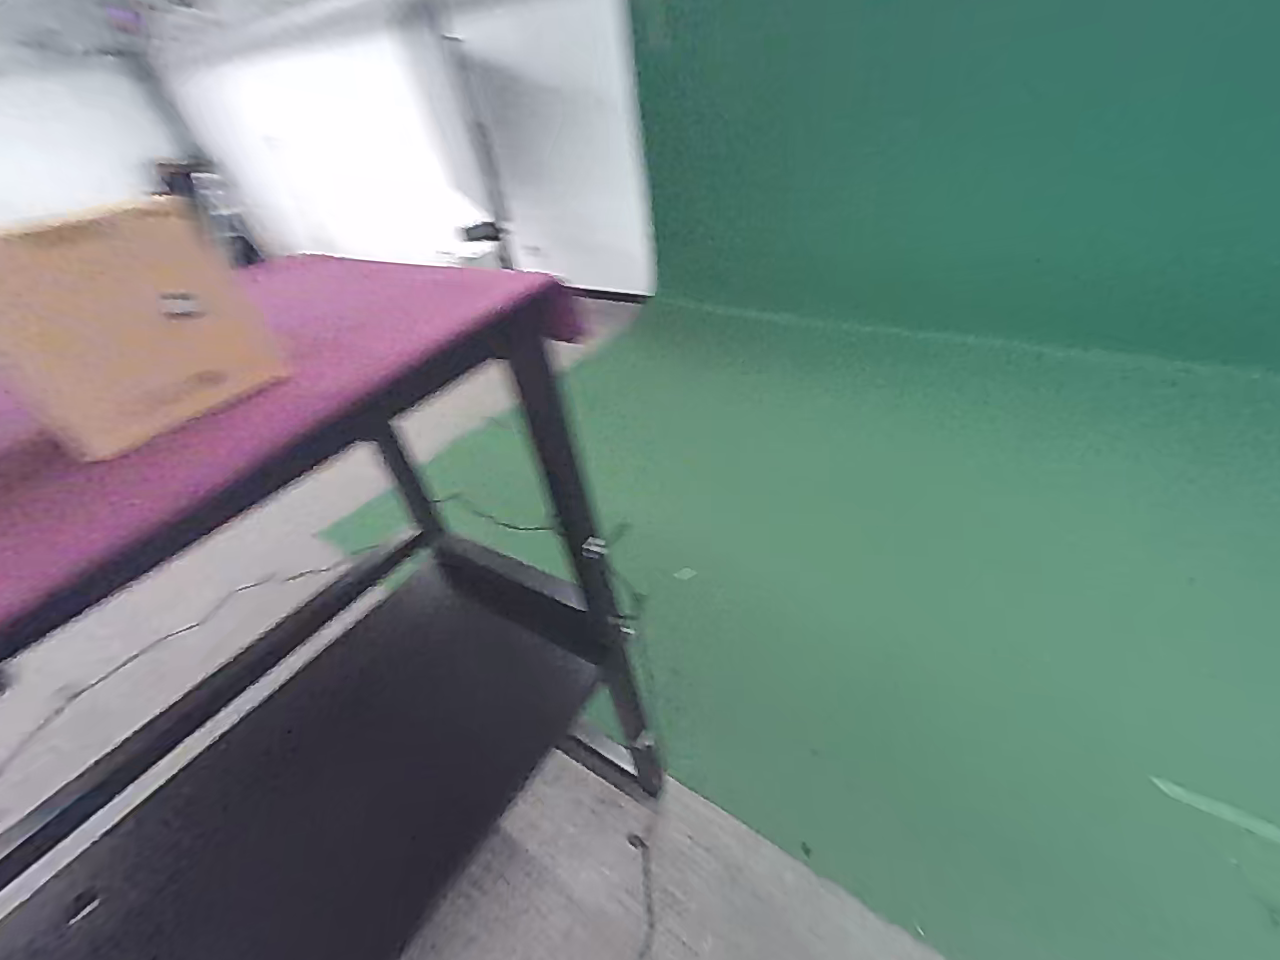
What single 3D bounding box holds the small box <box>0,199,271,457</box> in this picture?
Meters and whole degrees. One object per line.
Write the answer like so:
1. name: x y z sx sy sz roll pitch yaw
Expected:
1. small box: -0.486 -0.141 0.493 0.179 0.176 0.168 19 46 35
